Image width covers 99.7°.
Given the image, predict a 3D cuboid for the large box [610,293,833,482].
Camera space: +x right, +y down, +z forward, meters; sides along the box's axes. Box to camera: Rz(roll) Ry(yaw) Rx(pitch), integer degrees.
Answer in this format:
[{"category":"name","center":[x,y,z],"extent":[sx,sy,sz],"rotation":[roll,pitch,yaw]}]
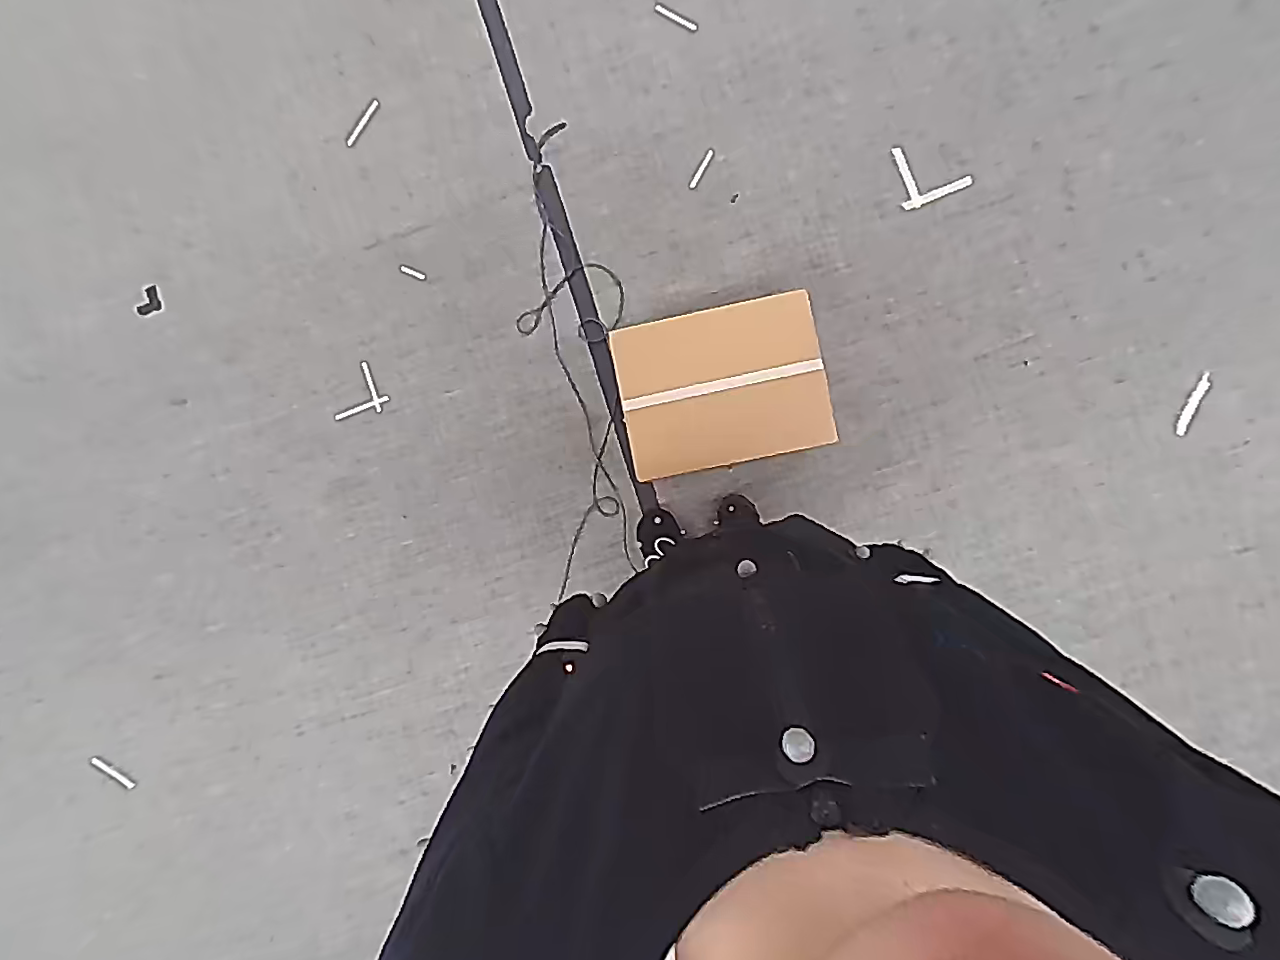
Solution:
[{"category":"large box","center":[0.169,-0.184,1.236],"extent":[0.408,0.320,0.320],"rotation":[-11,90,3]}]
